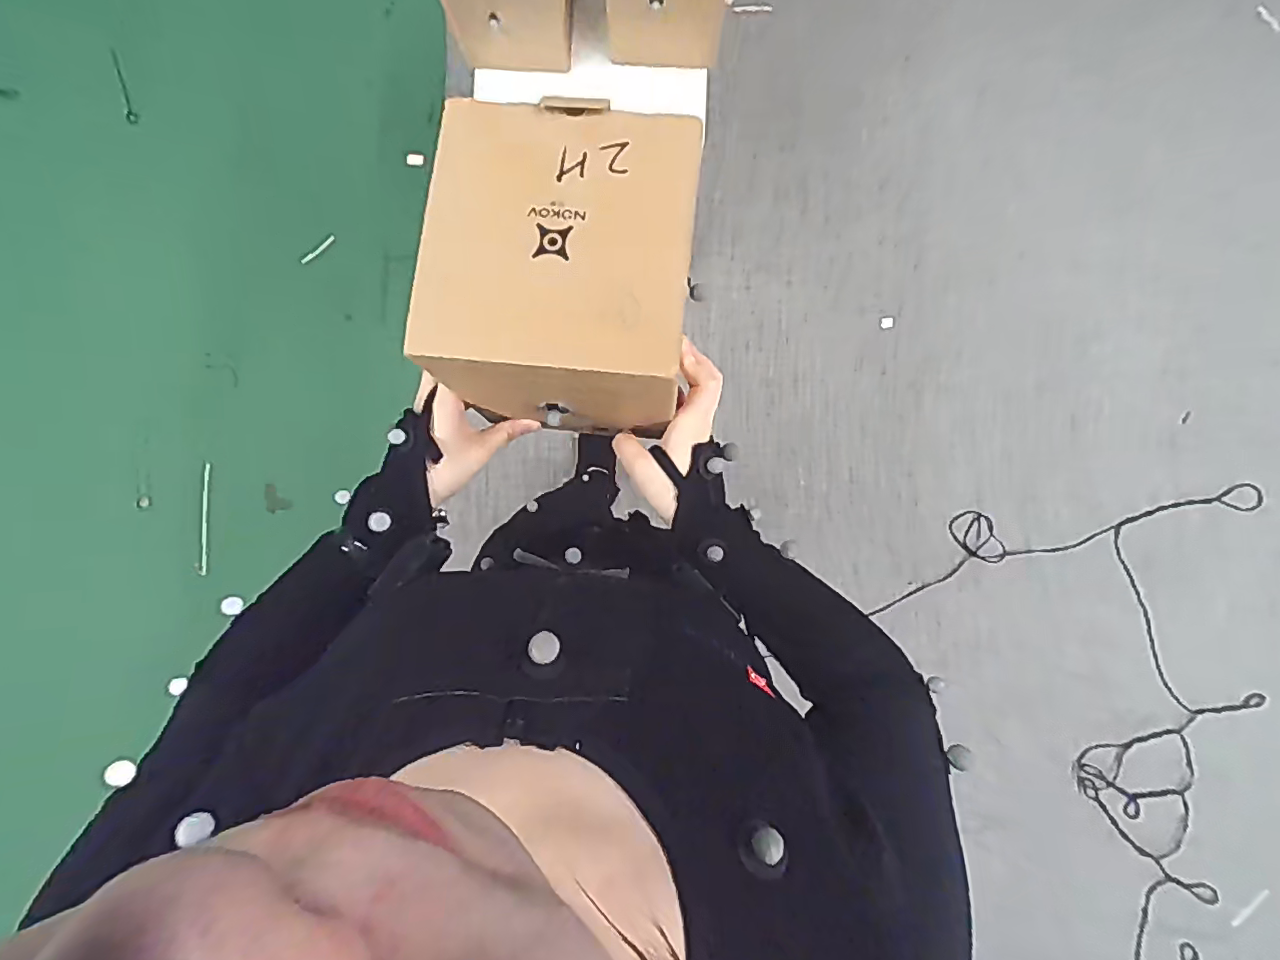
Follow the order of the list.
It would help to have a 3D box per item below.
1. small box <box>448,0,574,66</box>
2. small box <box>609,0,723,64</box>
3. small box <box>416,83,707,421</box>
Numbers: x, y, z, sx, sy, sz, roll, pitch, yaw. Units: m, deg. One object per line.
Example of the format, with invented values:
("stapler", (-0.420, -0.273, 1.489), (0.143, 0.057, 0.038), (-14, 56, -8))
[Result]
("small box", (-0.202, -0.781, 0.832), (0.179, 0.176, 0.168), (3, 90, 0))
("small box", (0.043, -0.782, 0.829), (0.179, 0.176, 0.168), (4, 90, 1))
("small box", (-0.045, -0.152, 0.415), (0.168, 0.176, 0.179), (6, 82, 2))
